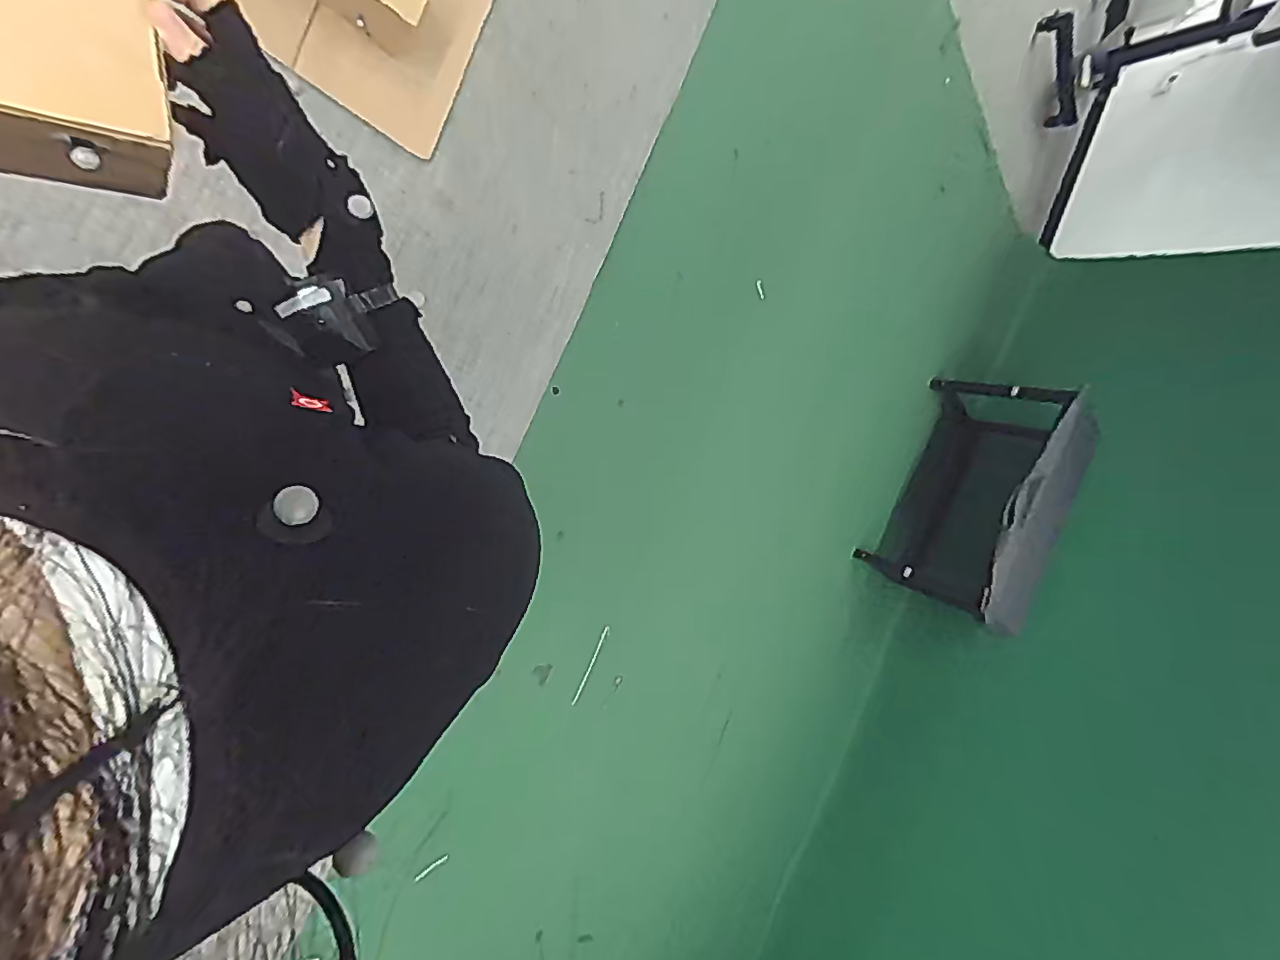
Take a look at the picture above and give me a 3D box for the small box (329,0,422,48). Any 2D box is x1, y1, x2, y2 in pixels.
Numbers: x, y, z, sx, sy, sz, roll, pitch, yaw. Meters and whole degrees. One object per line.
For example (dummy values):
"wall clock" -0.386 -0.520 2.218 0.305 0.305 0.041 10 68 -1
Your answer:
"small box" -0.532 -1.047 1.102 0.168 0.176 0.179 22 90 -40

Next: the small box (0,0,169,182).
"small box" -0.381 -0.280 0.292 0.179 0.176 0.168 -10 108 -42
